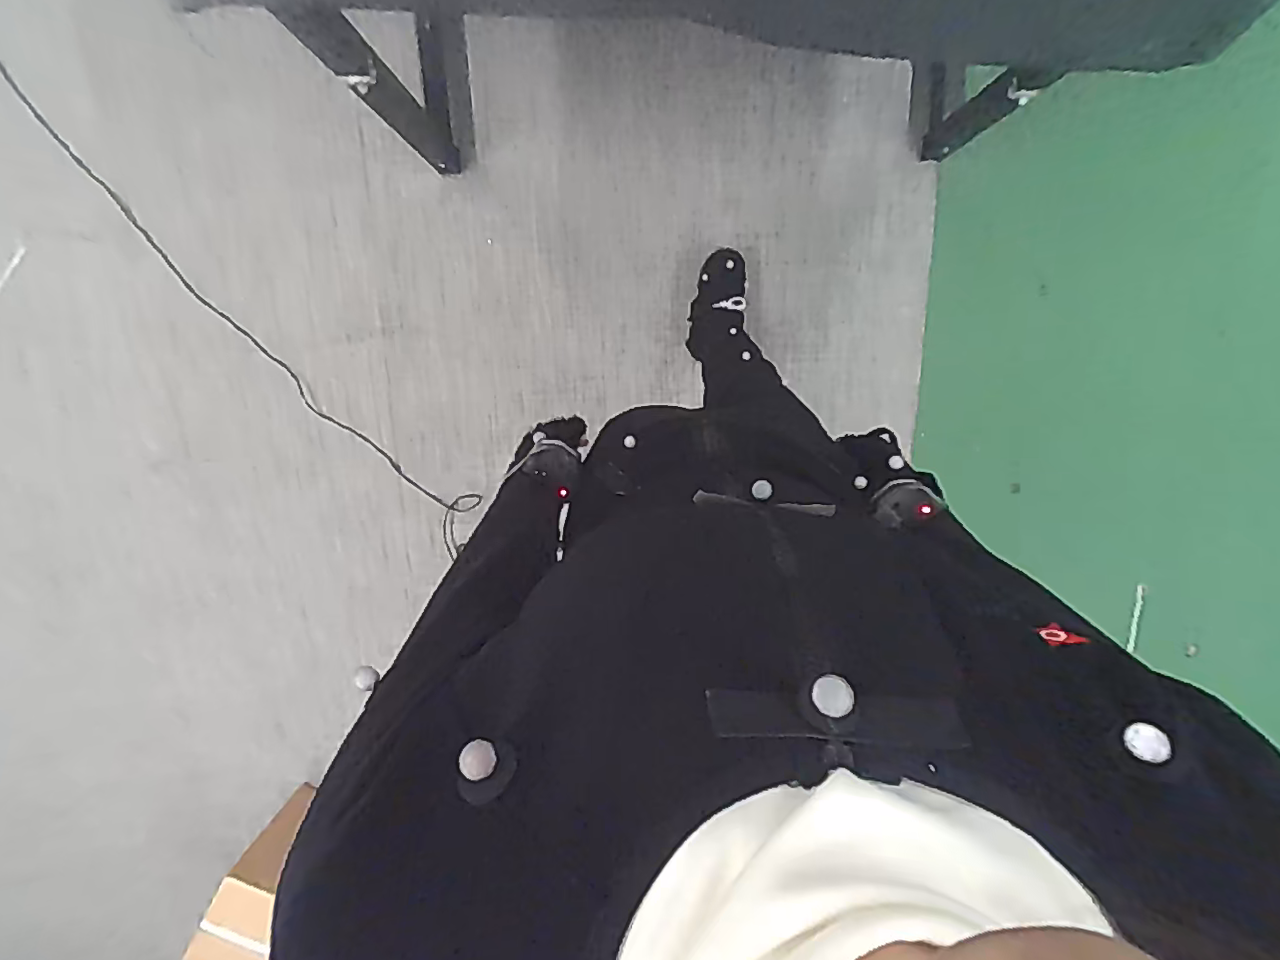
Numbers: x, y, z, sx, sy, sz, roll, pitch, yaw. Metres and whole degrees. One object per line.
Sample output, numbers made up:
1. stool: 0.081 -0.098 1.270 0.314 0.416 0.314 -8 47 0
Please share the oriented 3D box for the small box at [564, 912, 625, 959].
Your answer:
1. small box: -0.135 1.455 1.641 0.179 0.176 0.168 -4 104 0
